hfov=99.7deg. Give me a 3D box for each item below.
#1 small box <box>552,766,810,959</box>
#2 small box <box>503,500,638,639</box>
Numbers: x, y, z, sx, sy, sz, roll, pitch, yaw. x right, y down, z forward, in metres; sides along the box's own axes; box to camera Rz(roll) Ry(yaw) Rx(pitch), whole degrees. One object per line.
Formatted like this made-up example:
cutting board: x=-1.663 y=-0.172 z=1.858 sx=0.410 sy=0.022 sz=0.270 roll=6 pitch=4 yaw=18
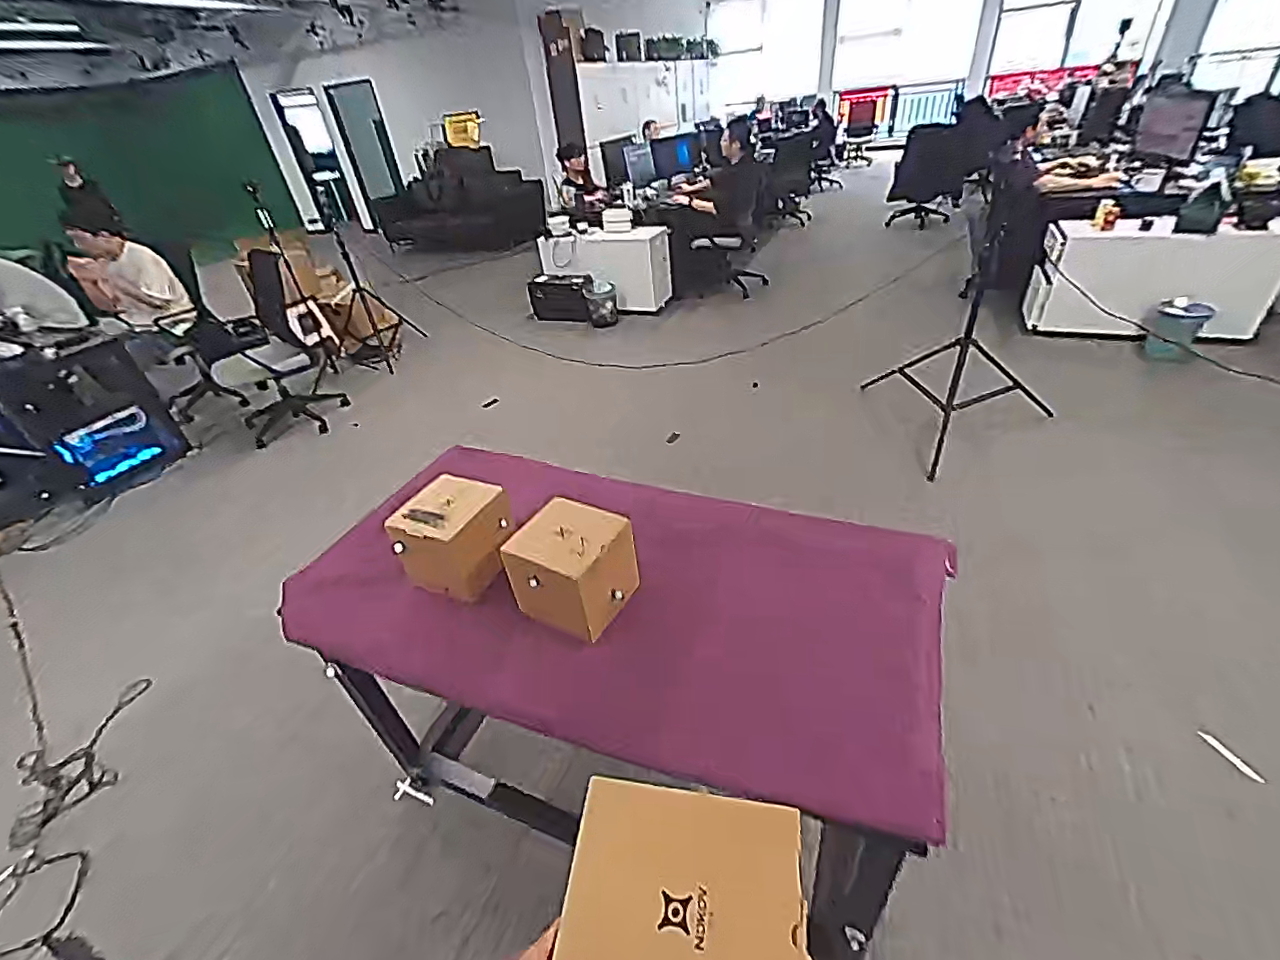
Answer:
small box: x=0.038 y=0.363 z=0.444 sx=0.179 sy=0.176 sz=0.168 roll=3 pitch=42 yaw=8
small box: x=-0.121 y=0.165 z=1.008 sx=0.179 sy=0.176 sz=0.168 roll=15 pitch=41 yaw=28
